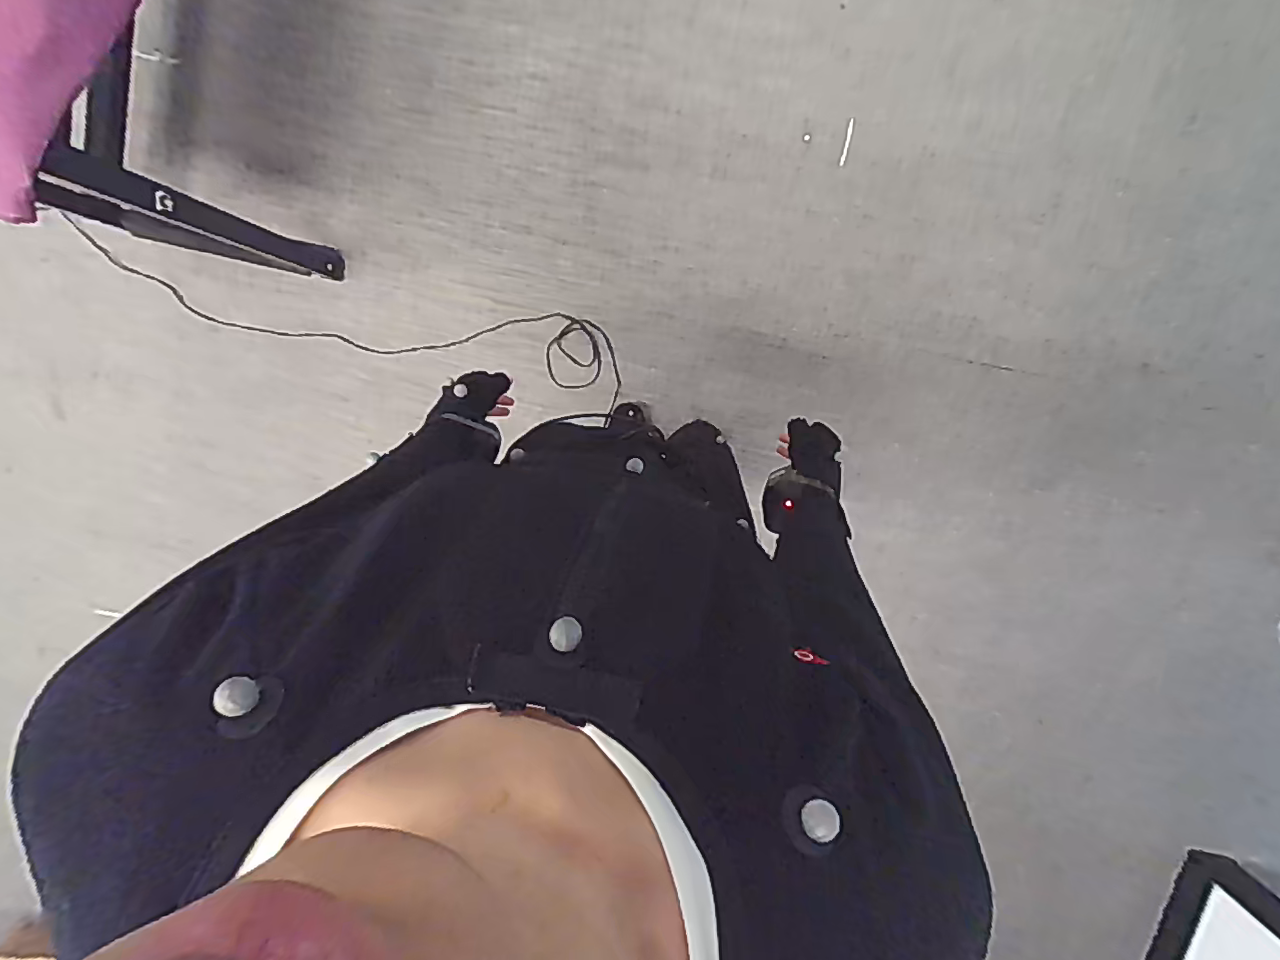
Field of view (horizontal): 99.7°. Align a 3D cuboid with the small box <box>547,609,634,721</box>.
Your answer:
[{"bbox_3d":[-0.111,0.436,1.293,0.168,0.176,0.179,12,100,1],"label":"small box"}]
